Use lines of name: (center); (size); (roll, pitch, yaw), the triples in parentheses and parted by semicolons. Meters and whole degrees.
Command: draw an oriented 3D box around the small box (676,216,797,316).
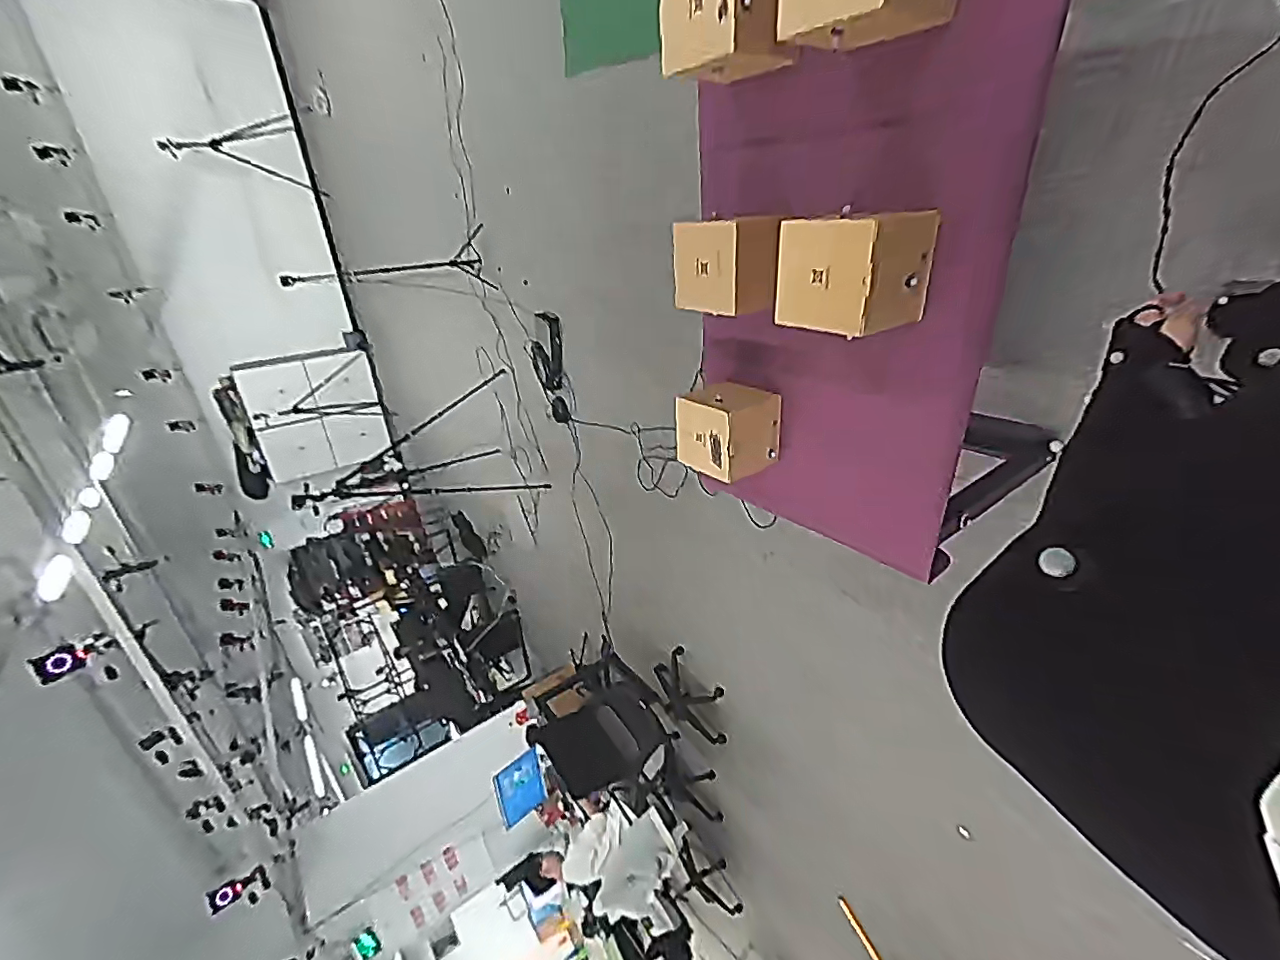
small box: (0.192, -0.439, 1.100); (0.179, 0.176, 0.168); (29, 131, 46)

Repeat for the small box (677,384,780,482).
small box: (0.207, -0.118, 1.259); (0.179, 0.176, 0.168); (28, 130, 48)

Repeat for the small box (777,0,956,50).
small box: (0.316, -0.712, 0.738); (0.179, 0.176, 0.168); (32, 134, 47)

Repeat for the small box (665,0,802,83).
small box: (0.161, -0.803, 0.929); (0.179, 0.176, 0.168); (28, 131, 47)
